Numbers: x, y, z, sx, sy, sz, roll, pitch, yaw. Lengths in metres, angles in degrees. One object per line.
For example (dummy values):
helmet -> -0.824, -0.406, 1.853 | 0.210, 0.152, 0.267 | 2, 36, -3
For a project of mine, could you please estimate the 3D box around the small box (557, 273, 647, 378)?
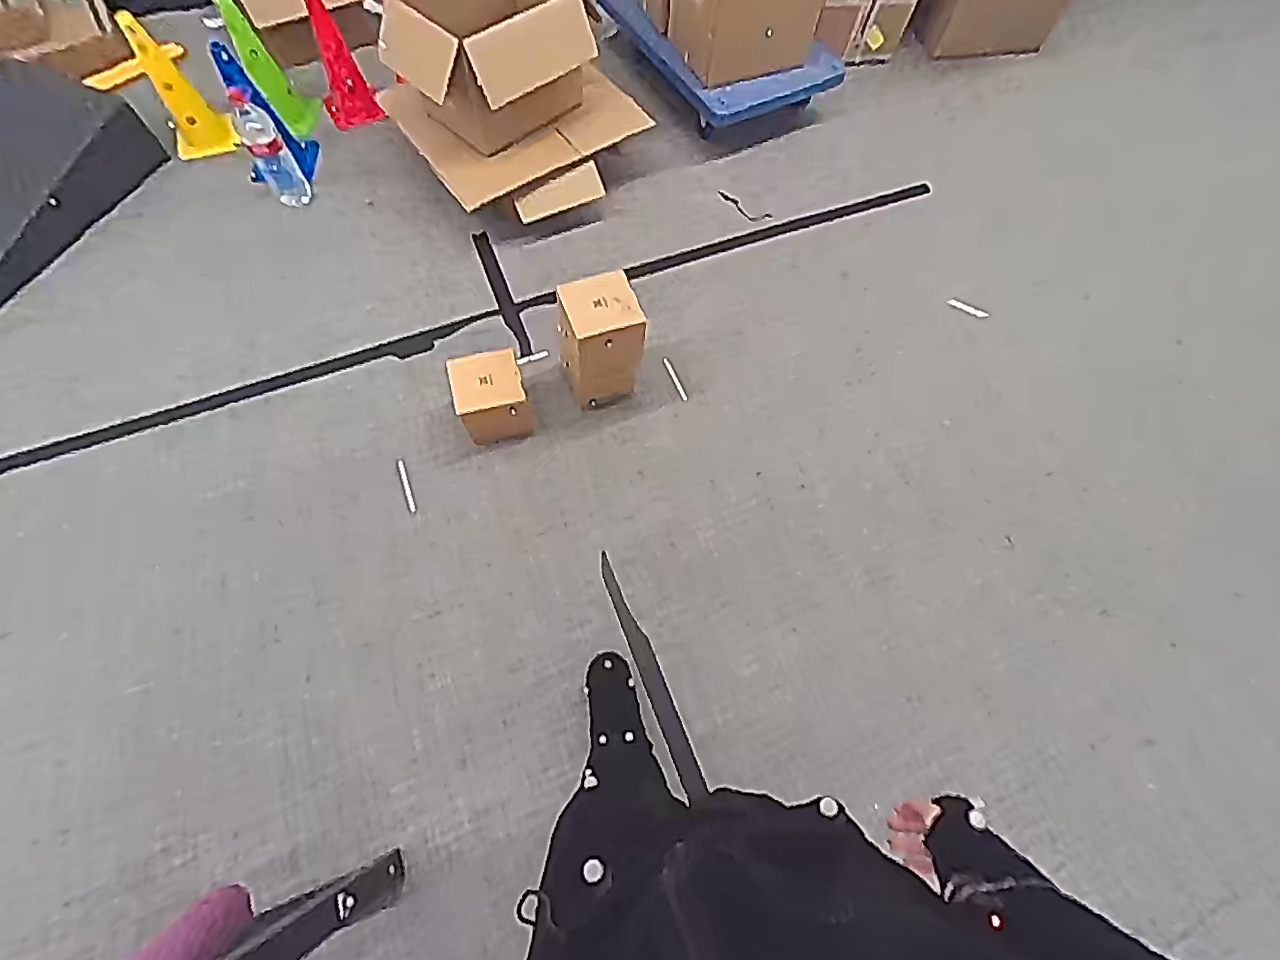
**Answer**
small box -> -0.094, -0.378, 1.346 | 0.179, 0.176, 0.168 | -18, 70, -12

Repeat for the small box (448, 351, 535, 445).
small box -> -0.390, -0.213, 1.436 | 0.179, 0.176, 0.168 | -14, 68, -10

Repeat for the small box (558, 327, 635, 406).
small box -> -0.116, -0.326, 1.502 | 0.168, 0.176, 0.179 | -20, 69, -13
